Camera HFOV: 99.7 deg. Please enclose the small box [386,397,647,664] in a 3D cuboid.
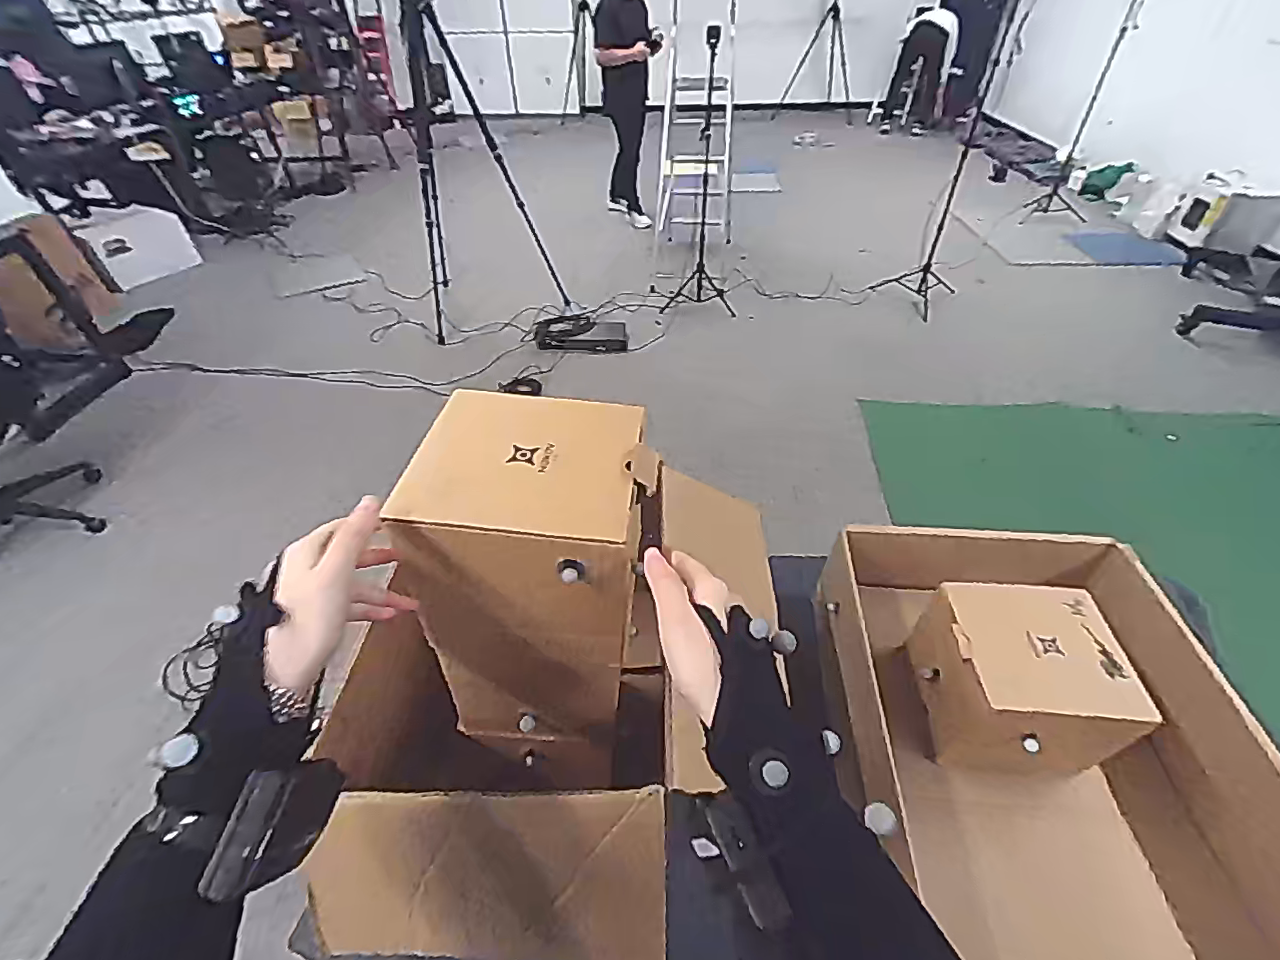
[{"bbox_3d":[-0.092,0.046,0.487,0.179,0.176,0.168,6,42,0],"label":"small box"}]
